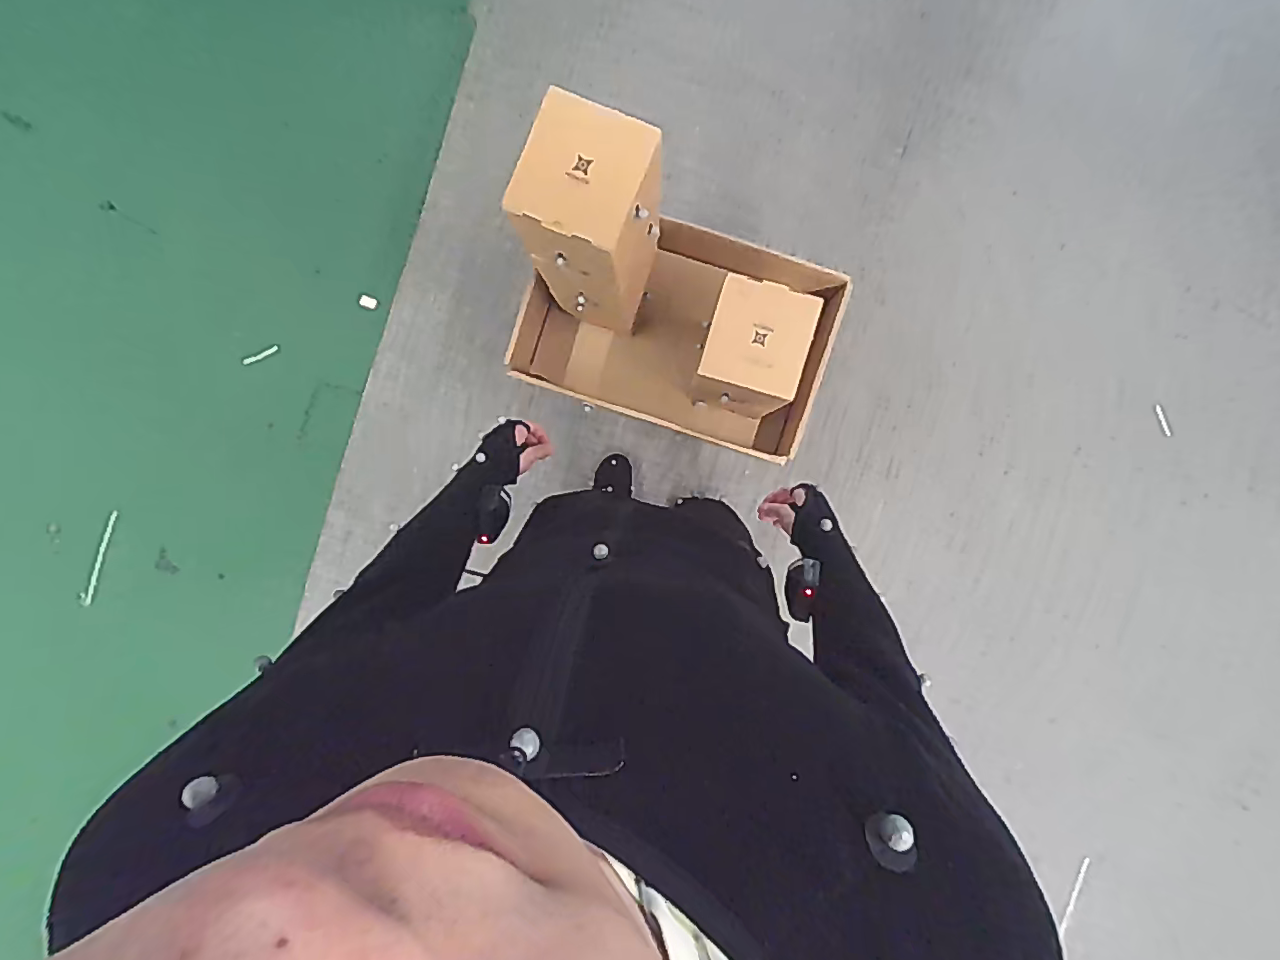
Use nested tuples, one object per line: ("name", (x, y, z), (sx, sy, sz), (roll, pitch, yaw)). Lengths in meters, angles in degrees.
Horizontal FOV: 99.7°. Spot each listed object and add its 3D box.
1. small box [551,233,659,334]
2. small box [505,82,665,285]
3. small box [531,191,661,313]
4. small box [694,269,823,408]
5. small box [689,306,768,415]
("small box", (-0.070, -0.429, 1.126), (0.168, 0.176, 0.179), (21, 91, 1))
("small box", (-0.073, -0.422, 0.801), (0.168, 0.176, 0.179), (23, 93, 1))
("small box", (-0.072, -0.426, 0.962), (0.168, 0.176, 0.179), (22, 92, 2))
("small box", (0.197, -0.239, 0.958), (0.168, 0.176, 0.179), (17, 92, 2))
("small box", (0.203, -0.244, 1.122), (0.168, 0.176, 0.179), (18, 91, 1))
